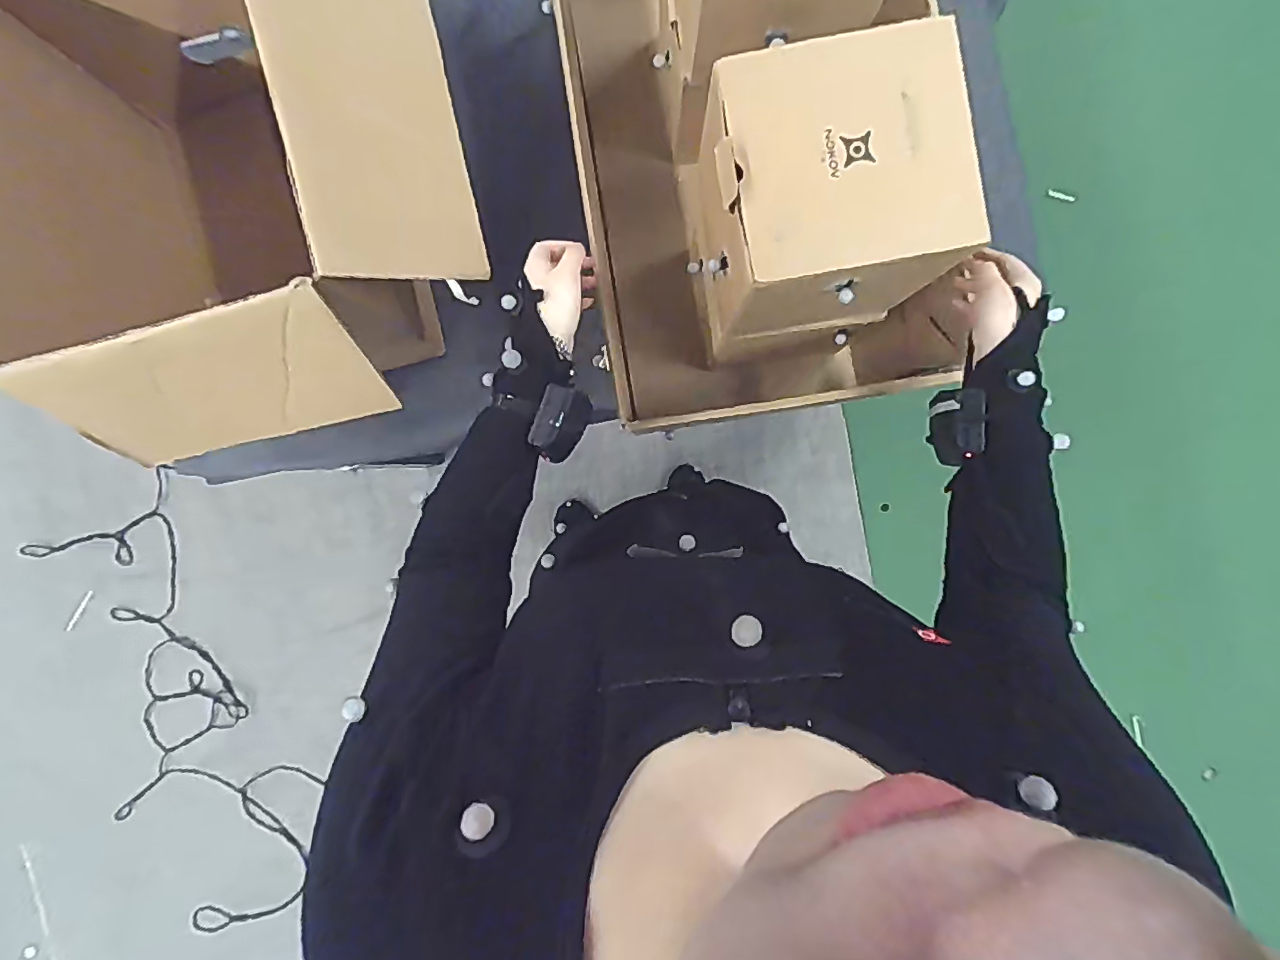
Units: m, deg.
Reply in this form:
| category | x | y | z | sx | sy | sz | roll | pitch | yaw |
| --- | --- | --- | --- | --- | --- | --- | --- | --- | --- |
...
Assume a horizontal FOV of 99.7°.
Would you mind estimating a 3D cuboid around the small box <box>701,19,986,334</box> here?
| category | x | y | z | sx | sy | sz | roll | pitch | yaw |
| --- | --- | --- | --- | --- | --- | --- | --- | --- | --- |
| small box | 0.152 | -0.238 | 0.470 | 0.179 | 0.176 | 0.168 | -10 | 91 | 0 |

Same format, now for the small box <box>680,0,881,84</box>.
| category | x | y | z | sx | sy | sz | roll | pitch | yaw |
| --- | --- | --- | --- | --- | --- | --- | --- | --- | --- |
| small box | 0.119 | -0.488 | 0.459 | 0.168 | 0.176 | 0.179 | -8 | 94 | 1 |
